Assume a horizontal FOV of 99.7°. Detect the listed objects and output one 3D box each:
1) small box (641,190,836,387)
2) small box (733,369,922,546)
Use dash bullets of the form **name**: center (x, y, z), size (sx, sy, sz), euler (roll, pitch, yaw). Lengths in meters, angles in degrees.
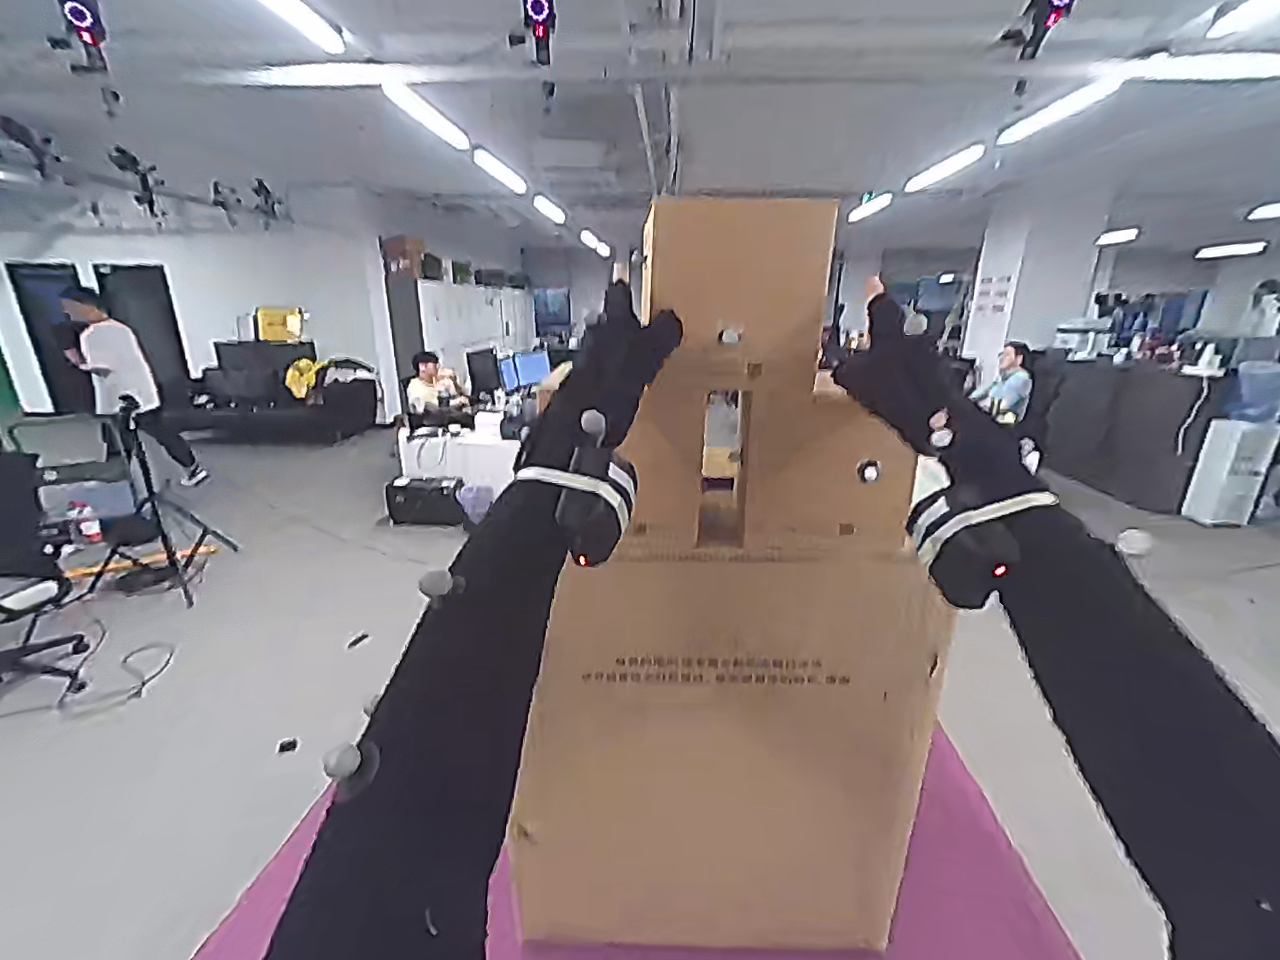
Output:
- **small box**: center (0.087, -0.194, 0.574), size (0.168, 0.176, 0.179), euler (0, 18, -2)
- **small box**: center (0.195, -0.033, 0.614), size (0.168, 0.176, 0.179), euler (2, 16, 6)
